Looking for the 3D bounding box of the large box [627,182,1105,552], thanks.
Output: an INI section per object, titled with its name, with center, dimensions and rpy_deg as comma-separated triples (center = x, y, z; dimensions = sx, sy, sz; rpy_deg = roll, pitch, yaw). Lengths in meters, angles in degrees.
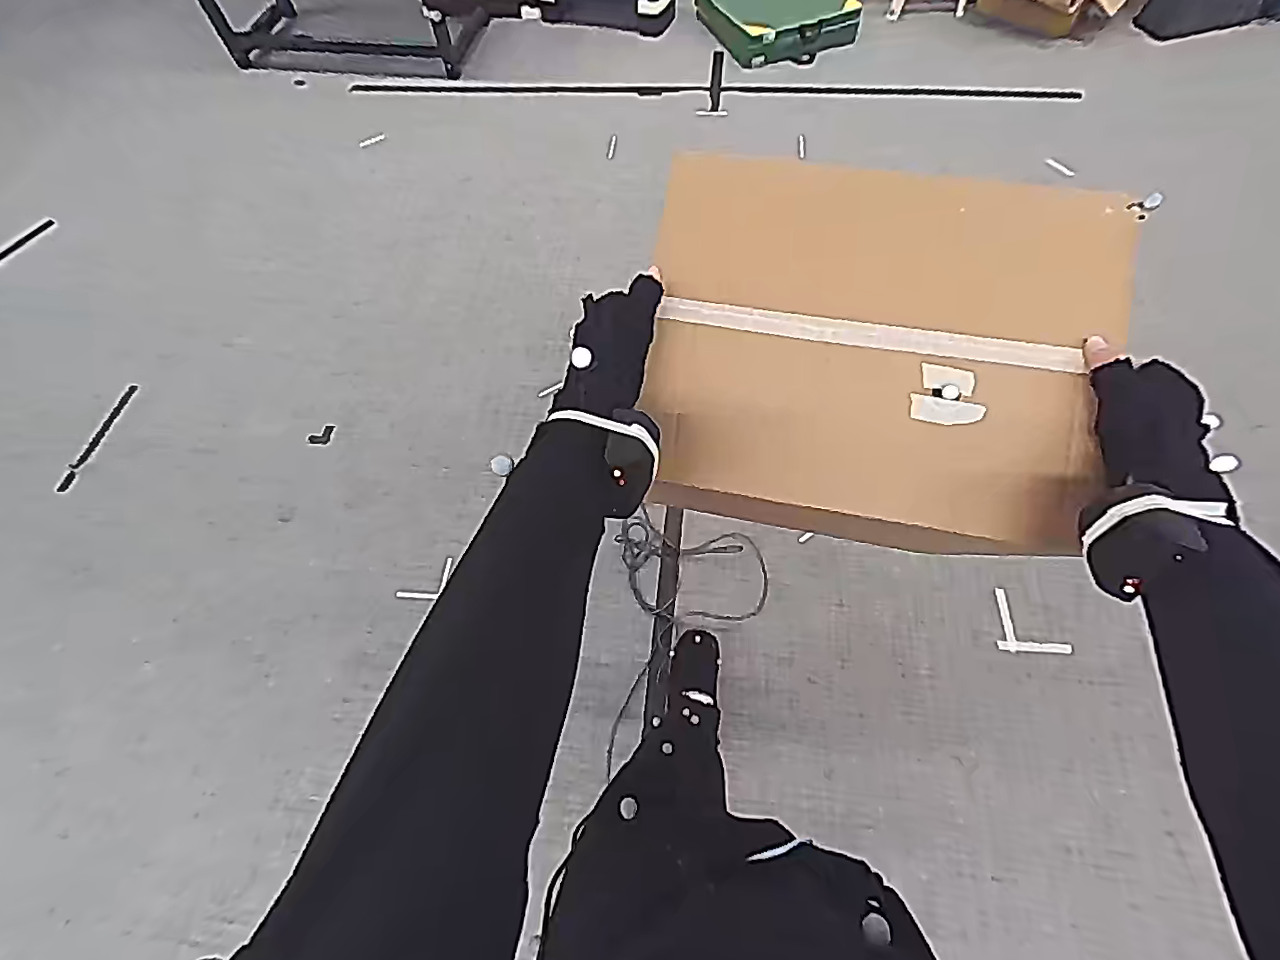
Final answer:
[large box]
center = 0.216, -0.098, 0.643
dimensions = 0.408, 0.320, 0.320
rpy_deg = 10, 85, 6
